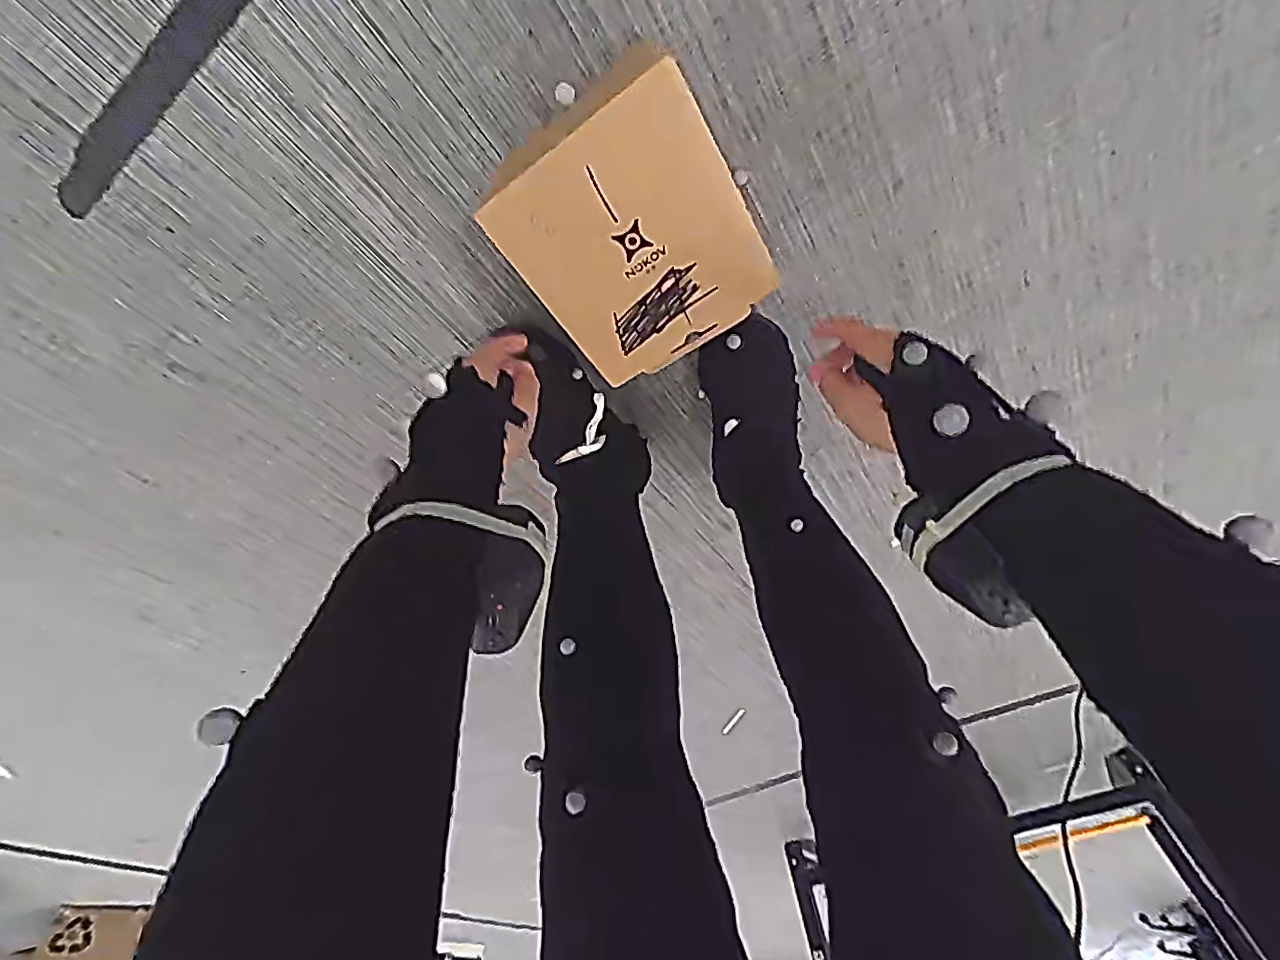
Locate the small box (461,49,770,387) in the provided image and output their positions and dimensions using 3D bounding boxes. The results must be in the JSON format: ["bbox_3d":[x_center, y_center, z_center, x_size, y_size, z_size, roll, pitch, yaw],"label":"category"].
[{"bbox_3d":[-0.016,-0.220,0.454,0.168,0.176,0.179,-29,127,17],"label":"small box"}]
